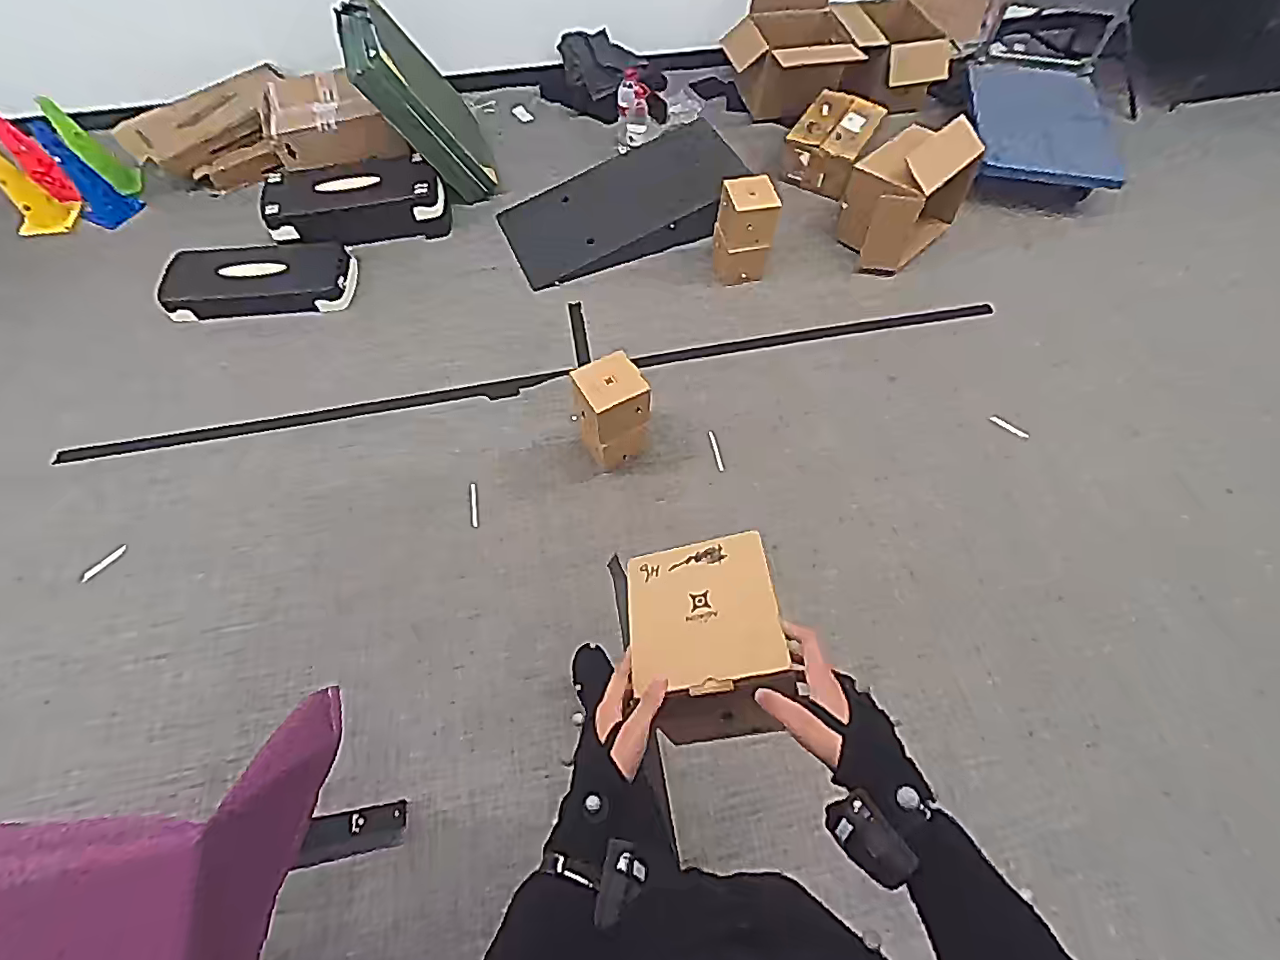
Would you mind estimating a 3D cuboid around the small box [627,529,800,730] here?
[{"bbox_3d":[0.089,0.190,0.658,0.168,0.176,0.179,-14,47,12],"label":"small box"}]
